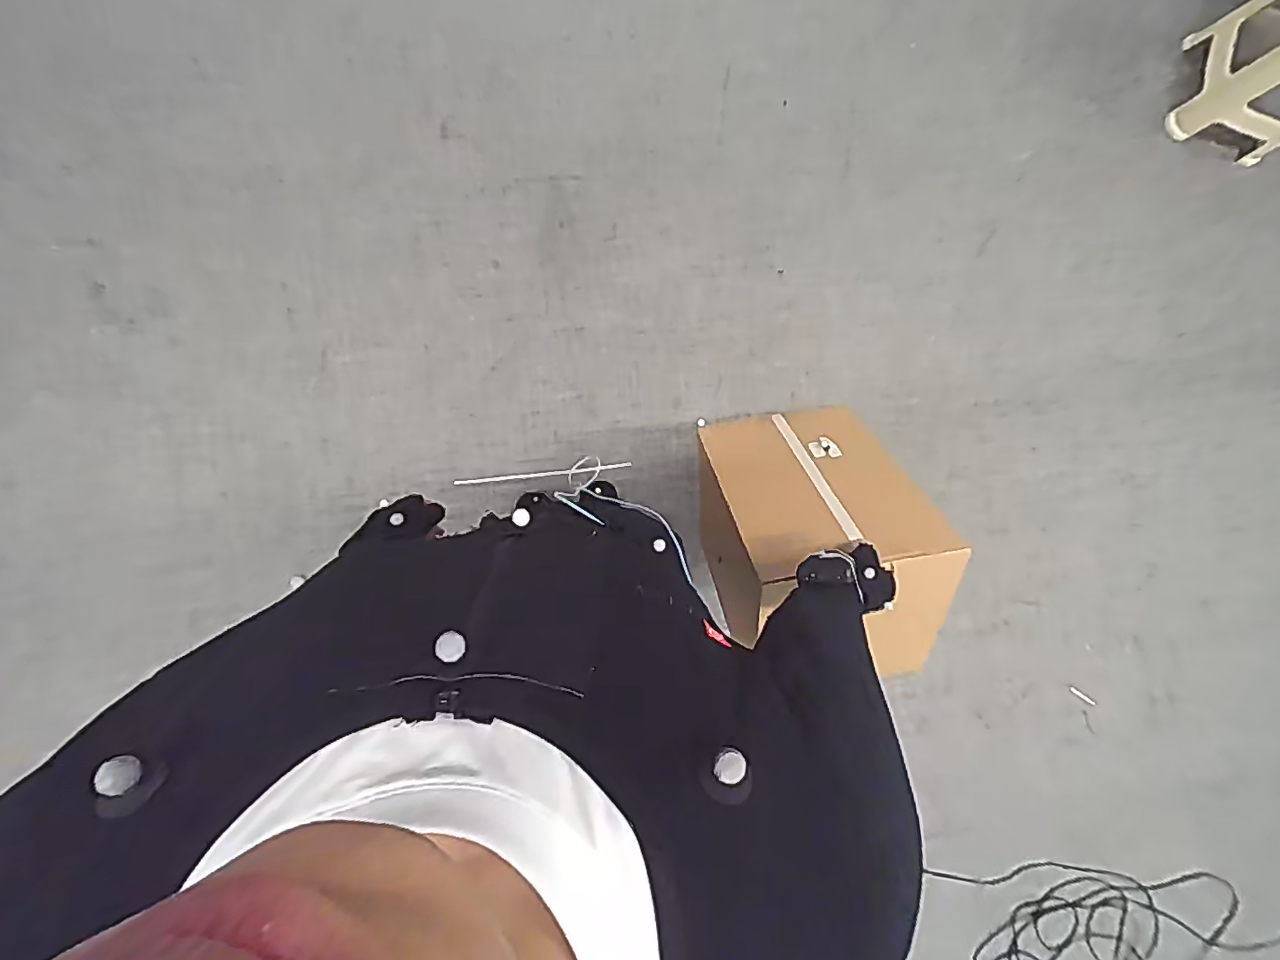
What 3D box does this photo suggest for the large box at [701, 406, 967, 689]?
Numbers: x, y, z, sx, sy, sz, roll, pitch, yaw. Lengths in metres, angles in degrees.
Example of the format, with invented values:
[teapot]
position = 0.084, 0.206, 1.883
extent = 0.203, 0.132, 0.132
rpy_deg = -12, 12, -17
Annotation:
[large box]
position = 0.315, 0.113, 1.020
extent = 0.320, 0.408, 0.320
rpy_deg = -9, 129, -3
